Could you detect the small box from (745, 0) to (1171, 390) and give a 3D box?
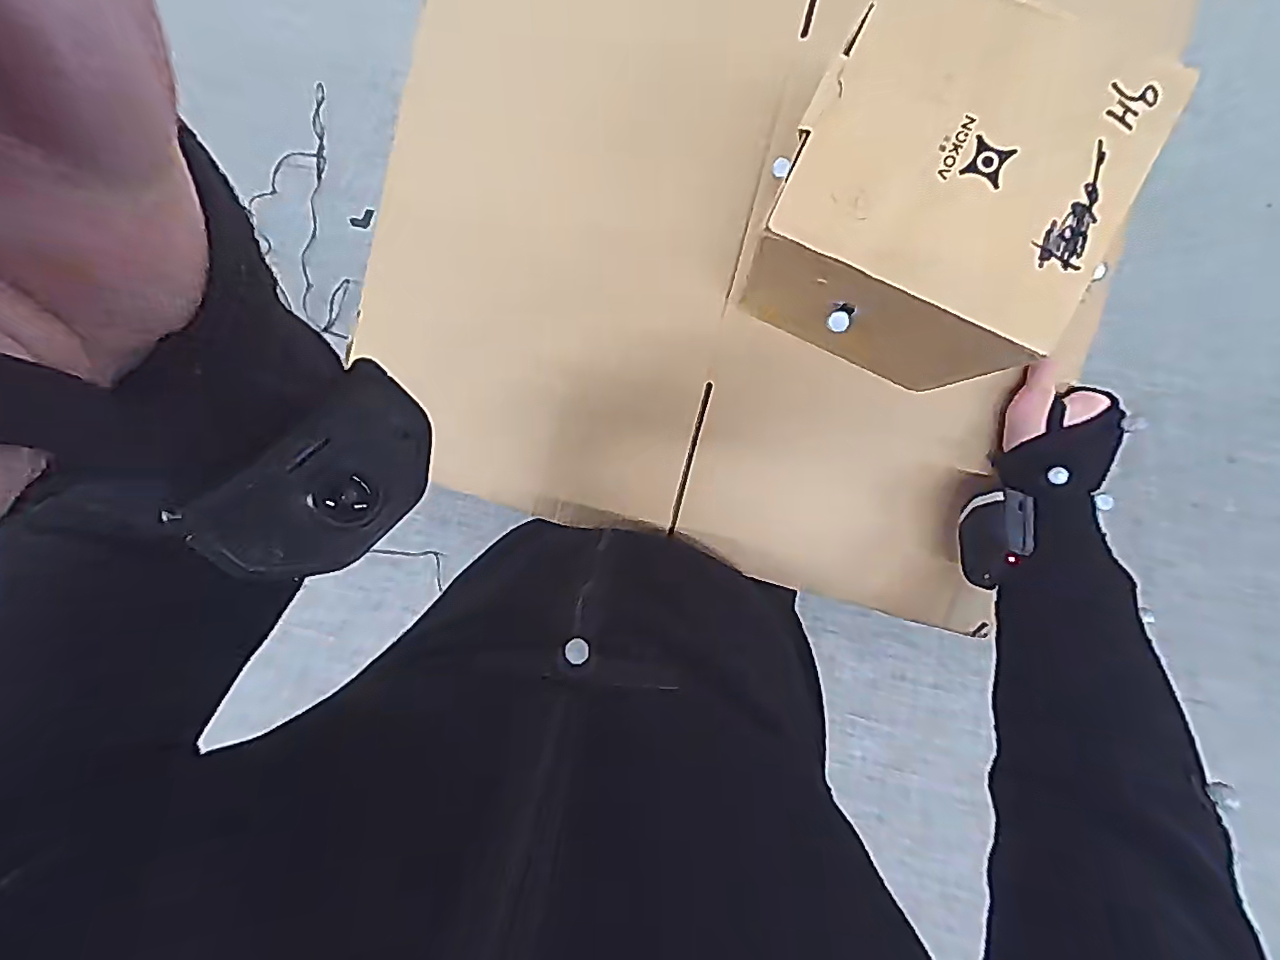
[{"bbox_3d":[0.190,-0.177,0.389,0.179,0.176,0.168,26,95,4],"label":"small box"}]
